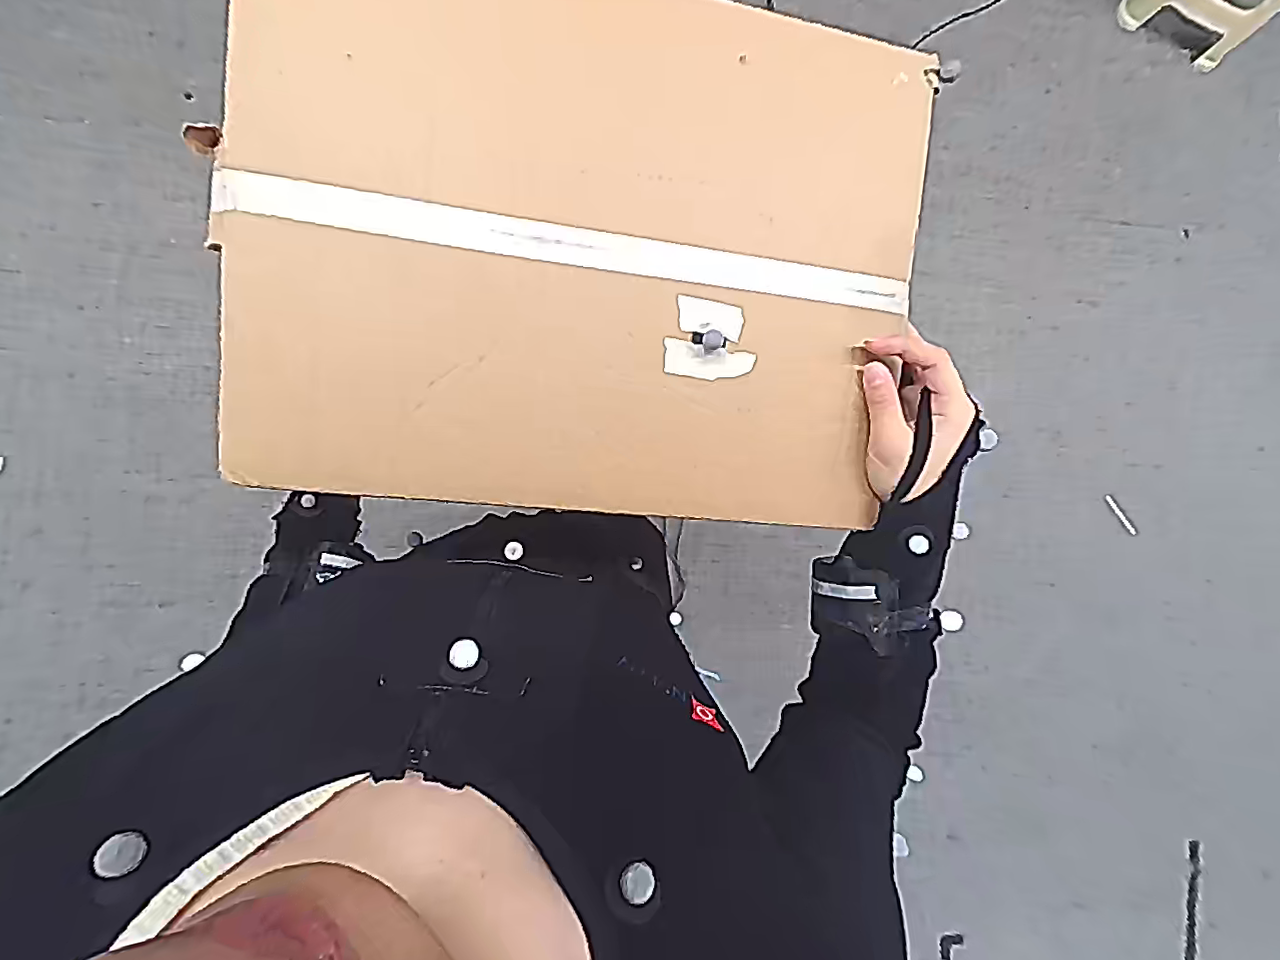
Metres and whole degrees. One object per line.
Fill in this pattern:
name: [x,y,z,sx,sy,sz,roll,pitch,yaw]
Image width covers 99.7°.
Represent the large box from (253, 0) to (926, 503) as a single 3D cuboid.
large box: [-0.044,-0.161,0.476,0.408,0.320,0.320,4,96,-13]
